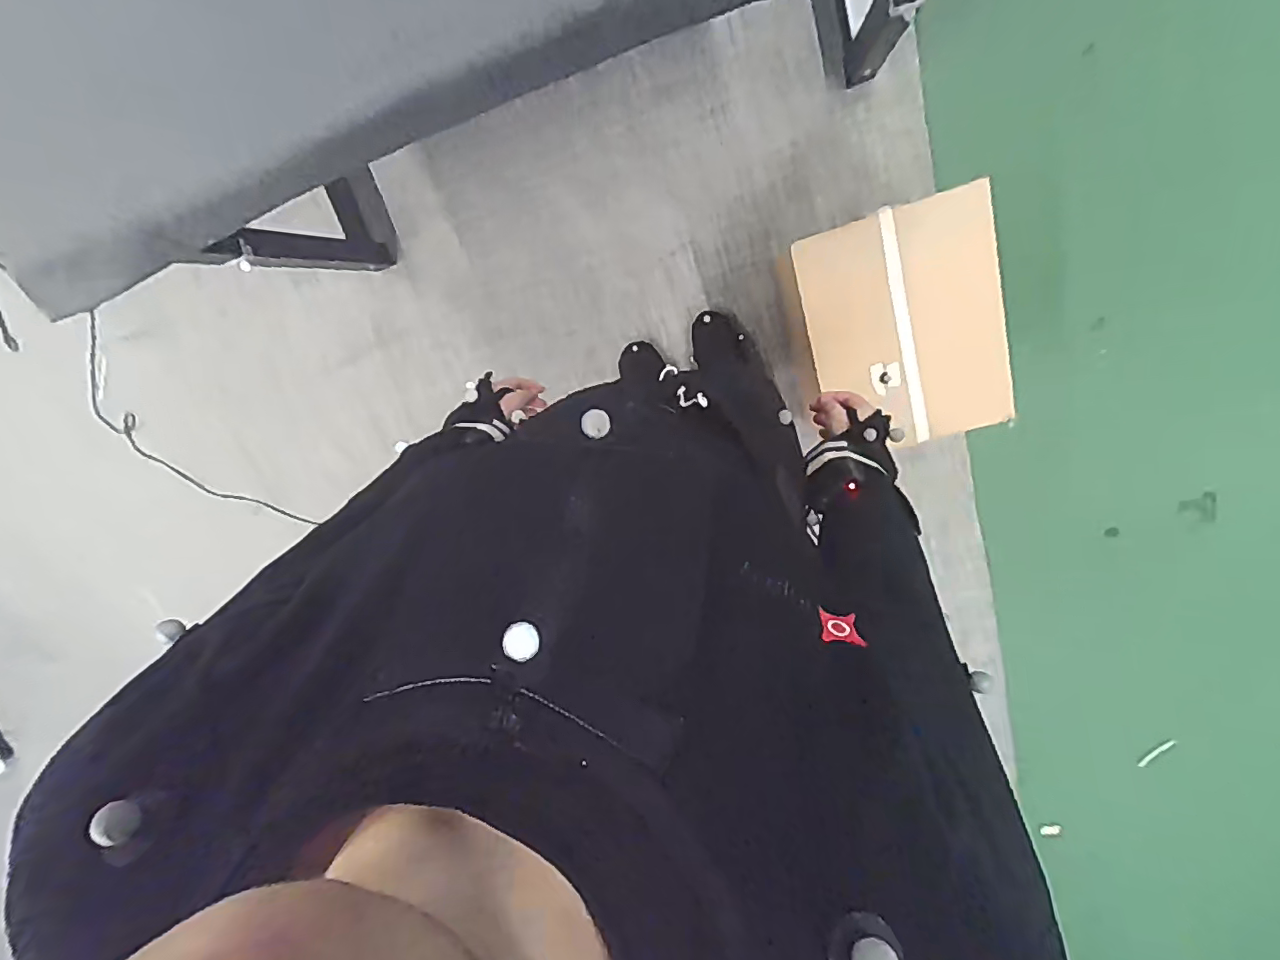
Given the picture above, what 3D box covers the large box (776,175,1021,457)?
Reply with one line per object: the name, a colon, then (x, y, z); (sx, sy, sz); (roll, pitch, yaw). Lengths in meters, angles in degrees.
large box: (0.482, -0.309, 1.067); (0.320, 0.320, 0.408); (-15, 107, 14)
